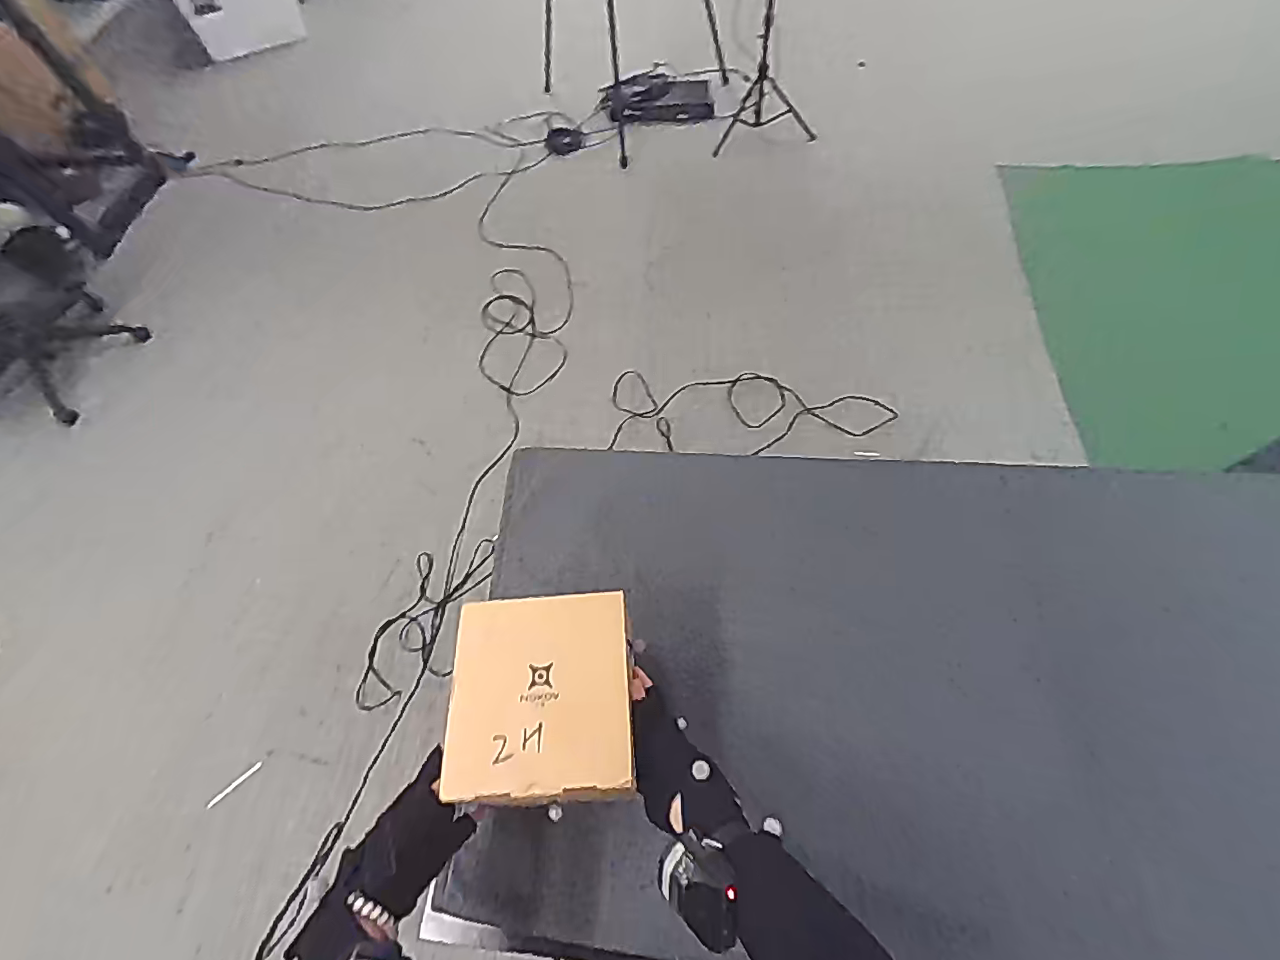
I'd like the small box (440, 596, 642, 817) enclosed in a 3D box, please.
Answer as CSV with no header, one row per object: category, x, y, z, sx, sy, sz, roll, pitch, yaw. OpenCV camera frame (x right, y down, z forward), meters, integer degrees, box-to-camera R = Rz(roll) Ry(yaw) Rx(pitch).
small box,-0.087,0.239,0.561,0.168,0.176,0.179,-5,56,0
